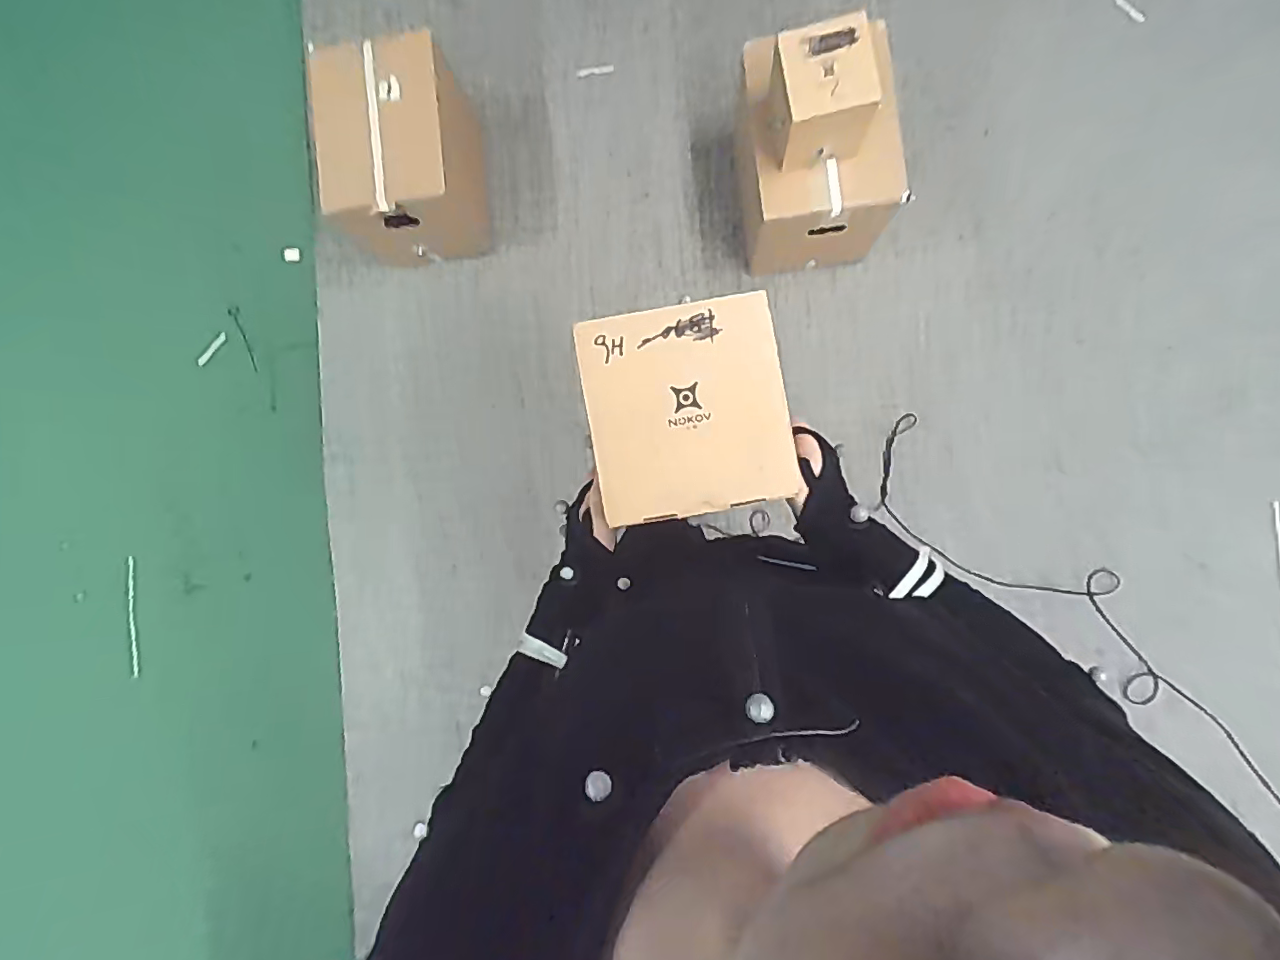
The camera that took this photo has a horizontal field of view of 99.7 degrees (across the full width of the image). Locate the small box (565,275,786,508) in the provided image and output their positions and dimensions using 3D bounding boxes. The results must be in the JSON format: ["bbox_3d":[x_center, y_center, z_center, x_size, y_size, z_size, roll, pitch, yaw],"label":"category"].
[{"bbox_3d":[0.030,-0.074,0.528,0.168,0.176,0.179,-9,90,0],"label":"small box"}]

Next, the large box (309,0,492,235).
[{"bbox_3d":[-0.599,-0.916,1.401,0.320,0.320,0.408,-4,89,6],"label":"large box"}]
